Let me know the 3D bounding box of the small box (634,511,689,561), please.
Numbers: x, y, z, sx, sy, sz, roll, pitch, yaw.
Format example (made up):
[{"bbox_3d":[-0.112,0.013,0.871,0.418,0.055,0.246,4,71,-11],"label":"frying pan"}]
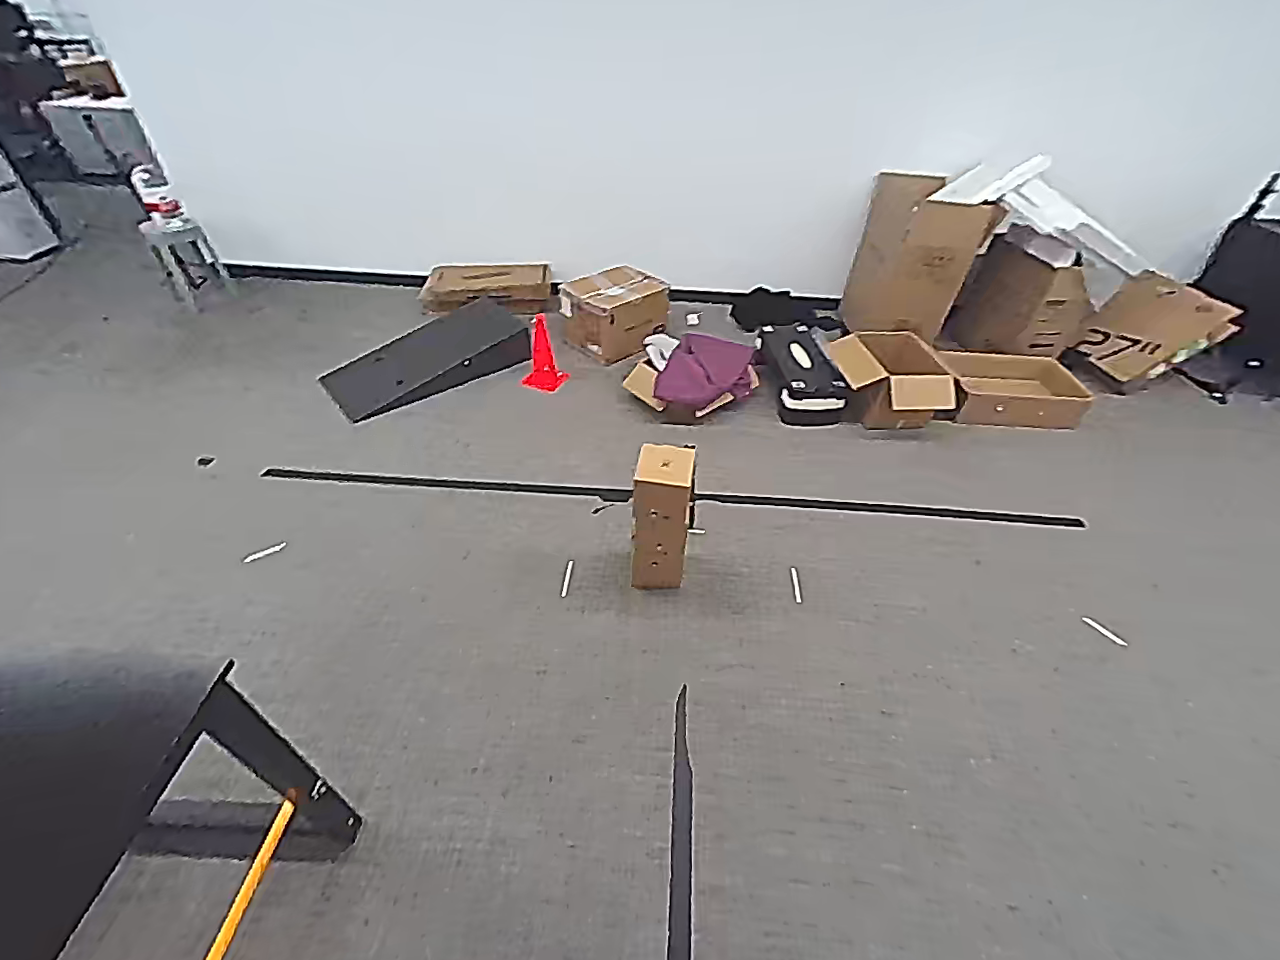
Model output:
[{"bbox_3d":[0.069,0.139,1.759,0.168,0.176,0.179,4,42,1],"label":"small box"}]

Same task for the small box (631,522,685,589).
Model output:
[{"bbox_3d":[0.058,0.262,1.867,0.179,0.176,0.168,2,42,-2],"label":"small box"}]

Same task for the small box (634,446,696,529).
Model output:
[{"bbox_3d":[0.073,0.022,1.646,0.168,0.176,0.179,7,43,6],"label":"small box"}]
